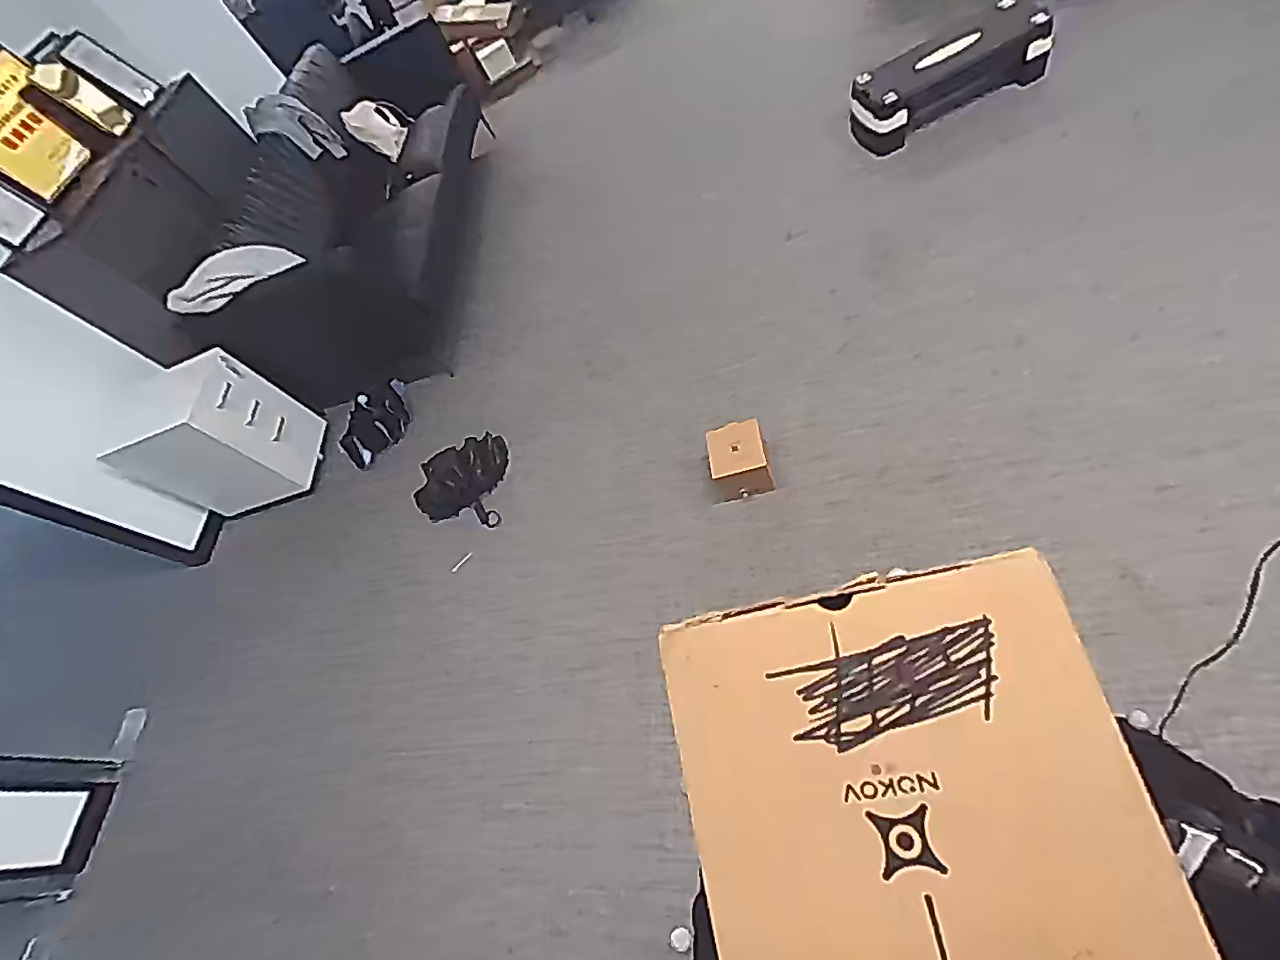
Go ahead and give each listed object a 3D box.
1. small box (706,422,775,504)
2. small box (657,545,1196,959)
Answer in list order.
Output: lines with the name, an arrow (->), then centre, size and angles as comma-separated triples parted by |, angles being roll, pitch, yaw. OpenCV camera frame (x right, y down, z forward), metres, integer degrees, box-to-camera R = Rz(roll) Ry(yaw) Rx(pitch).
small box -> 0.317, -0.050, 1.702 | 0.168, 0.176, 0.179 | -16, 58, 17
small box -> 0.121, 0.149, 0.289 | 0.168, 0.176, 0.179 | -16, 70, 13
